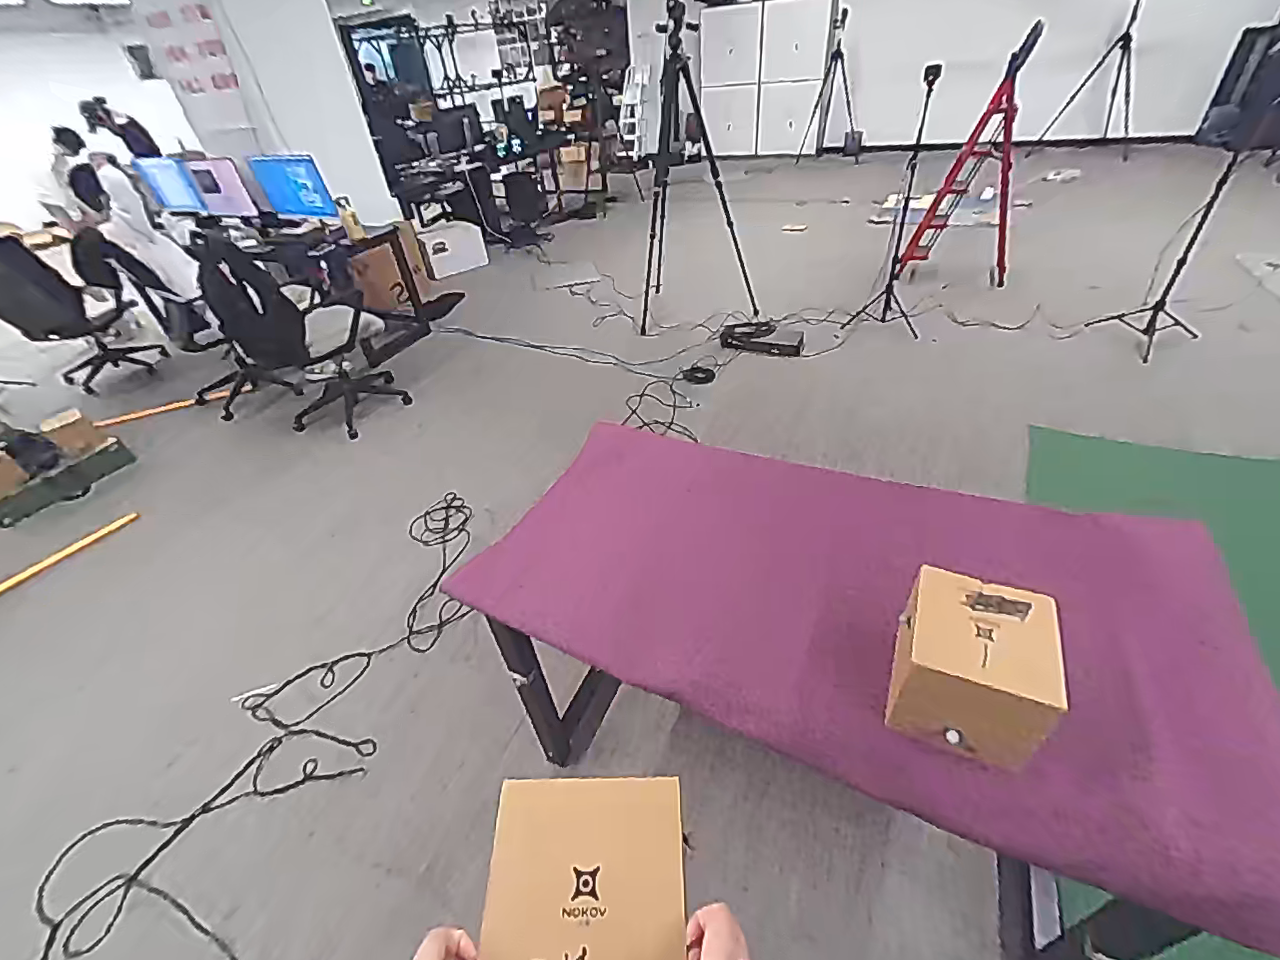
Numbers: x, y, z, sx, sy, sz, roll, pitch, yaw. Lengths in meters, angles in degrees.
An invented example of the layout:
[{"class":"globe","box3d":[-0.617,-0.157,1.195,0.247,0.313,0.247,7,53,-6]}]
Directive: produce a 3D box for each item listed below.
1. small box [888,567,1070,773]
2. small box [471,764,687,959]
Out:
[{"class":"small box","box3d":[0.449,0.254,0.738,0.168,0.176,0.179,13,42,23]},{"class":"small box","box3d":[-0.041,0.379,0.499,0.168,0.176,0.179,-3,51,4]}]
